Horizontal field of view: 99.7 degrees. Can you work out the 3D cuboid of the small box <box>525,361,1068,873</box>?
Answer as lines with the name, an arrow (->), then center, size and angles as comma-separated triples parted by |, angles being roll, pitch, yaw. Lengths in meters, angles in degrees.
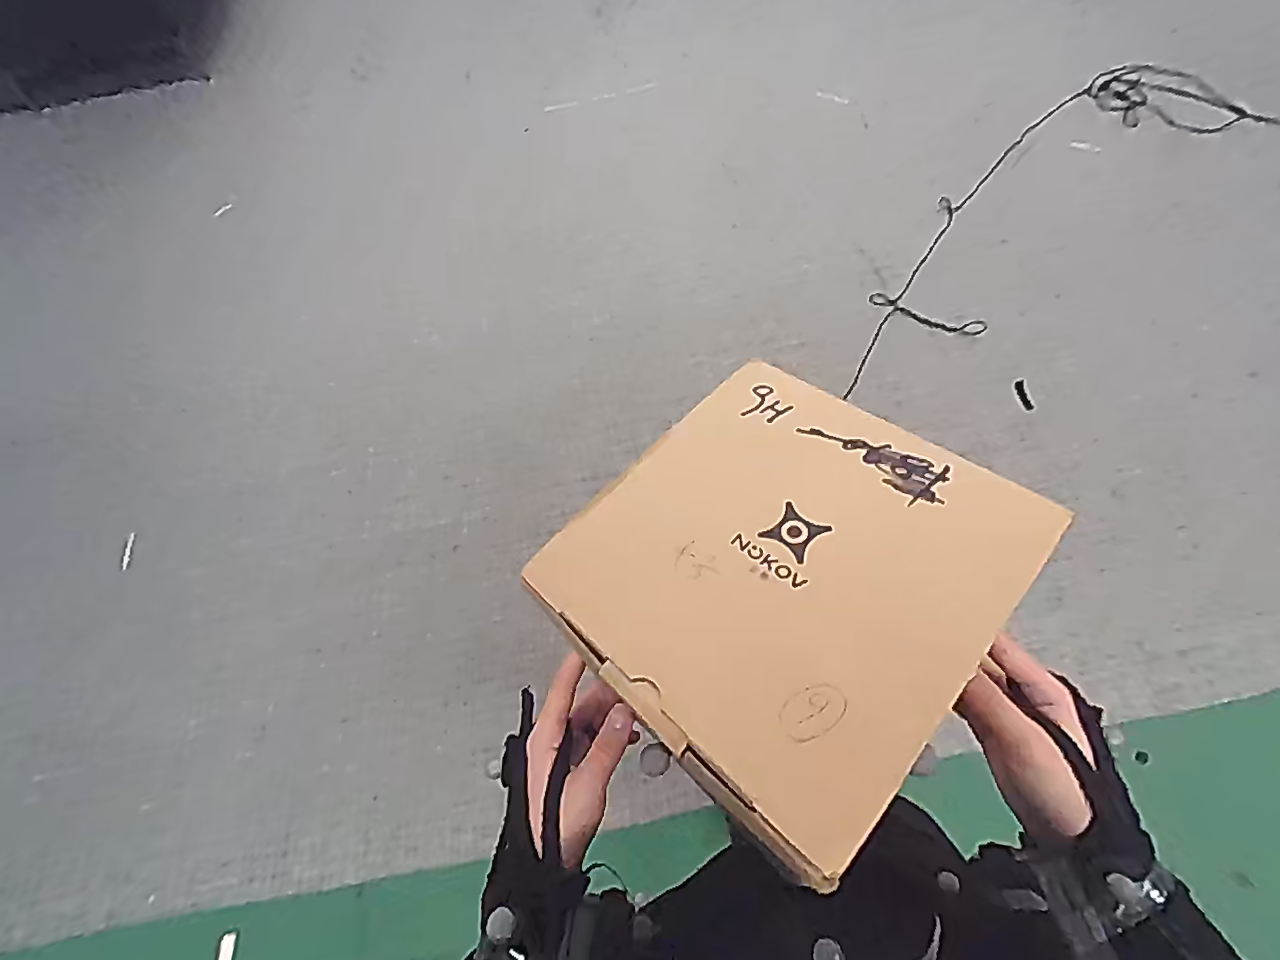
small box -> 0.075, 0.075, 0.298 | 0.179, 0.176, 0.168 | -42, 57, -18
